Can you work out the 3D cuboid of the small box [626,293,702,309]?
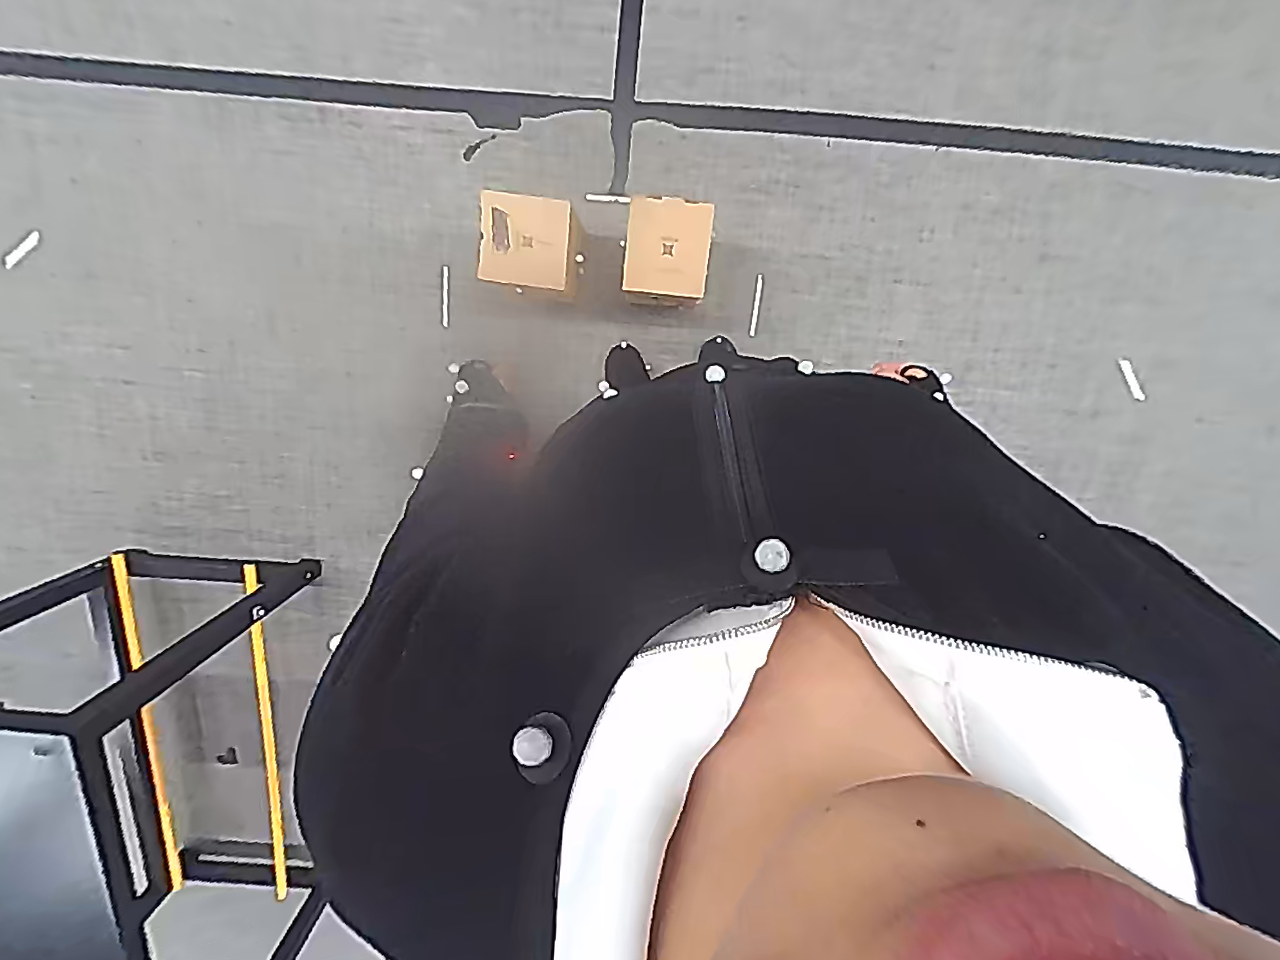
[{"bbox_3d":[0.059,-0.500,1.289,0.179,0.176,0.168,4,105,0],"label":"small box"}]

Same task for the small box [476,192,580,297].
[{"bbox_3d":[-0.227,-0.480,1.126,0.179,0.176,0.168,7,105,-2],"label":"small box"}]

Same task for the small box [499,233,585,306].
[{"bbox_3d":[-0.227,-0.516,1.287,0.168,0.176,0.179,8,106,0],"label":"small box"}]

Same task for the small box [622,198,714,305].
[{"bbox_3d":[0.054,-0.468,1.129,0.168,0.176,0.179,6,106,0],"label":"small box"}]
